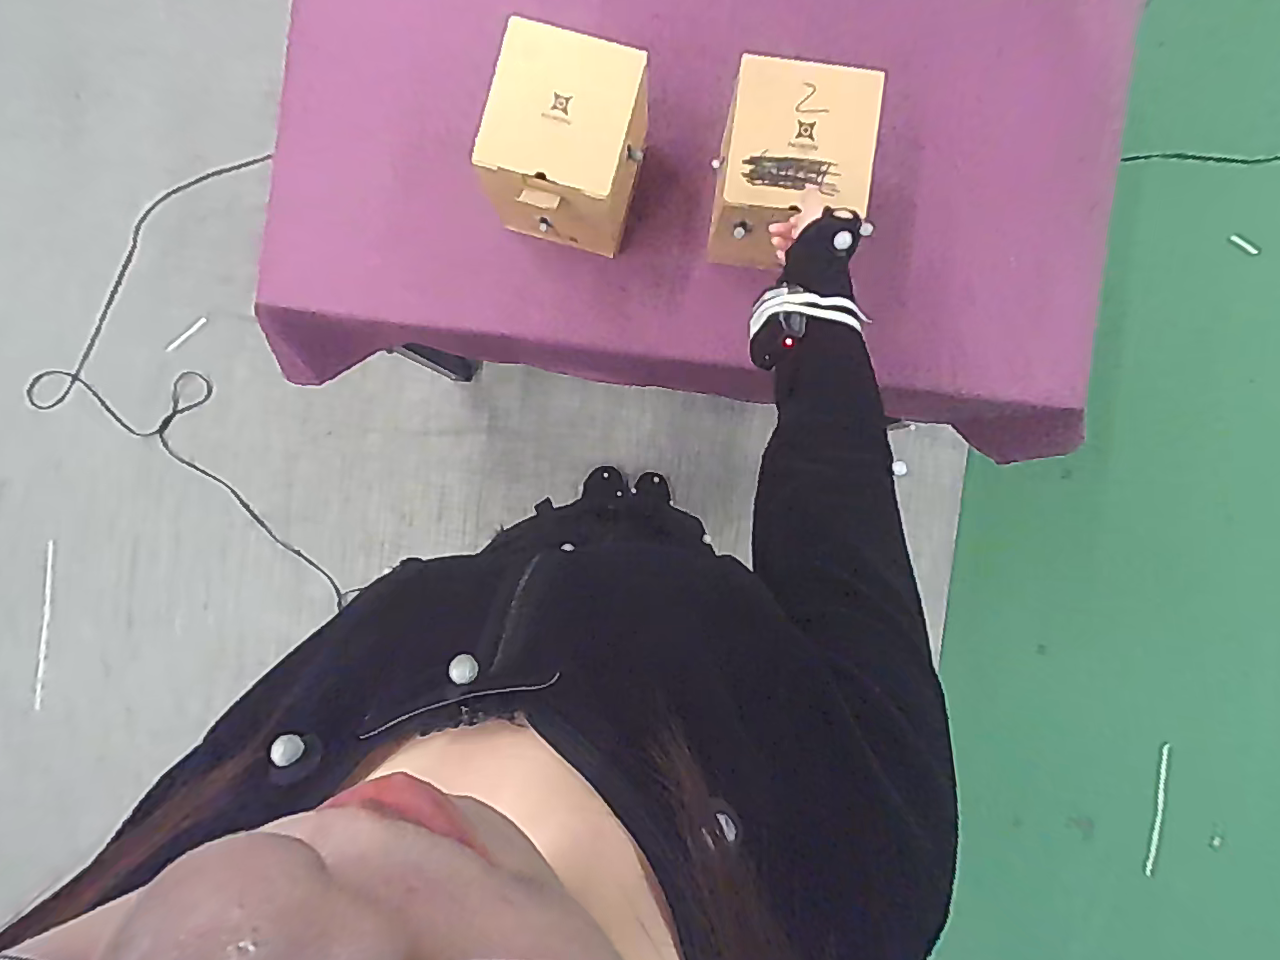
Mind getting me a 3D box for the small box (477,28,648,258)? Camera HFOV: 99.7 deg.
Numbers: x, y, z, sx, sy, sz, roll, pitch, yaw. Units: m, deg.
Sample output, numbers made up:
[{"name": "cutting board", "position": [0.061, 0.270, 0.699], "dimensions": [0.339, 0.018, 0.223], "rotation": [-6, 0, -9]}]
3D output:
[{"name": "small box", "position": [-0.093, -0.428, 0.716], "dimensions": [0.168, 0.176, 0.179], "rotation": [16, 91, 0]}]
